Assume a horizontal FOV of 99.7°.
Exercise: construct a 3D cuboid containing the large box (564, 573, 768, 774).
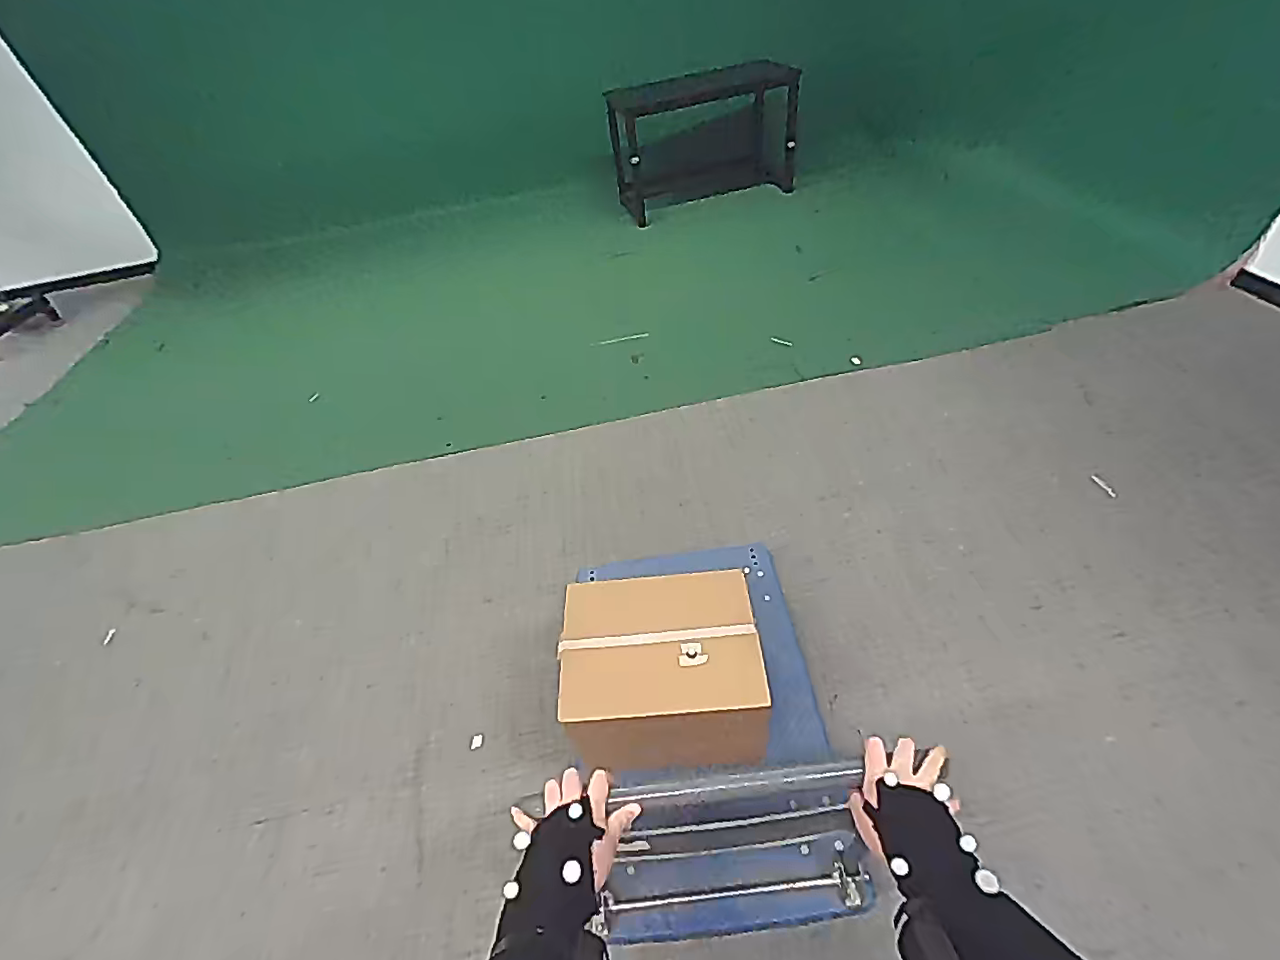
[{"bbox_3d":[0.054,0.446,1.242,0.408,0.320,0.320,-5,44,2],"label":"large box"}]
